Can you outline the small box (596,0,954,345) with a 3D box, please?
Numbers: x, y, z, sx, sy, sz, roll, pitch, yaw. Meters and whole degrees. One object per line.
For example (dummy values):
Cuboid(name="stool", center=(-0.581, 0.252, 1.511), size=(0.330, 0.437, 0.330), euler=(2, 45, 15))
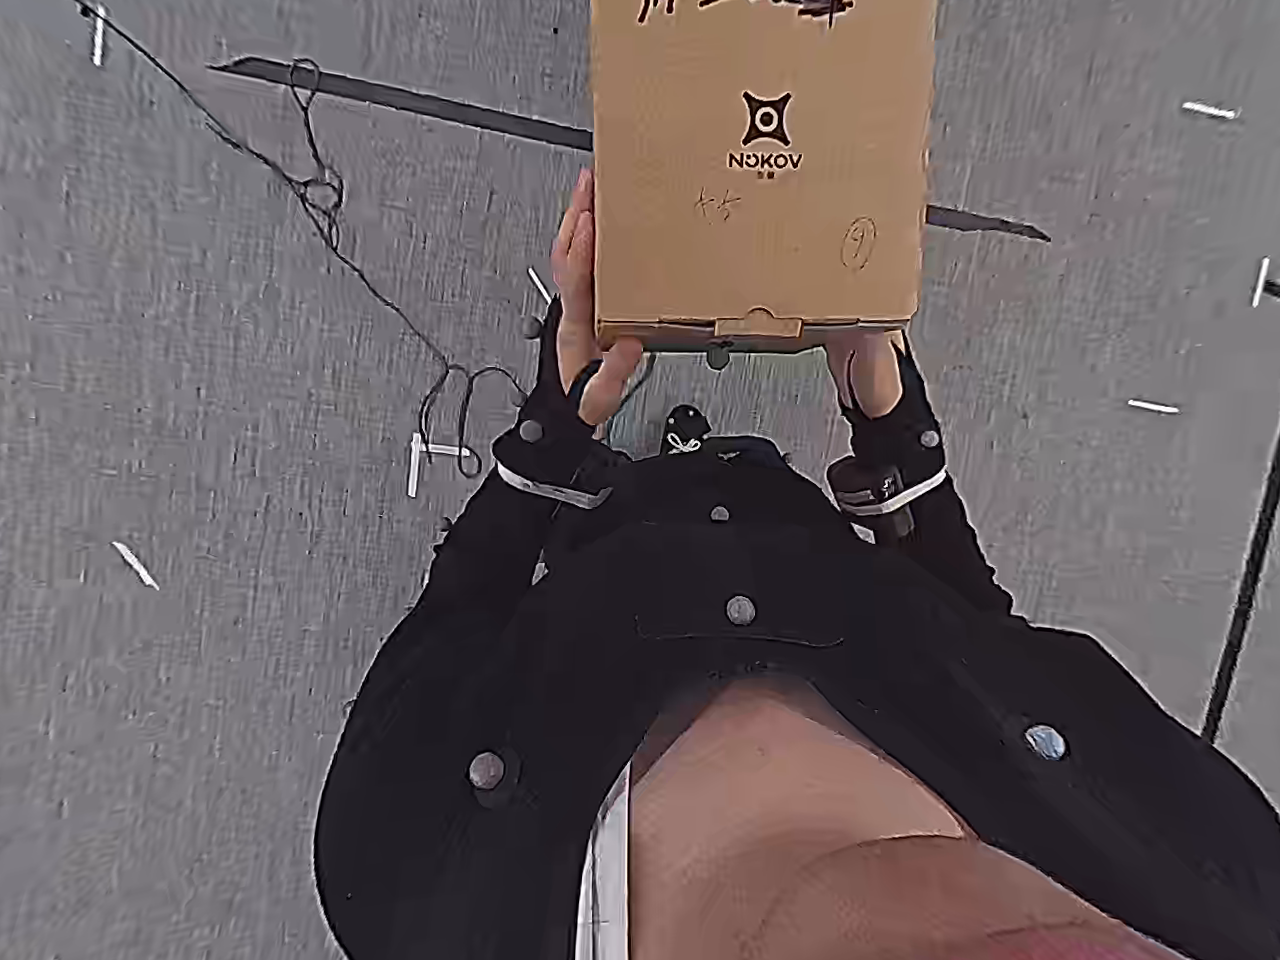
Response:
Cuboid(name="small box", center=(0.057, -0.177, 0.333), size=(0.168, 0.176, 0.179), euler=(-1, 99, -4))
